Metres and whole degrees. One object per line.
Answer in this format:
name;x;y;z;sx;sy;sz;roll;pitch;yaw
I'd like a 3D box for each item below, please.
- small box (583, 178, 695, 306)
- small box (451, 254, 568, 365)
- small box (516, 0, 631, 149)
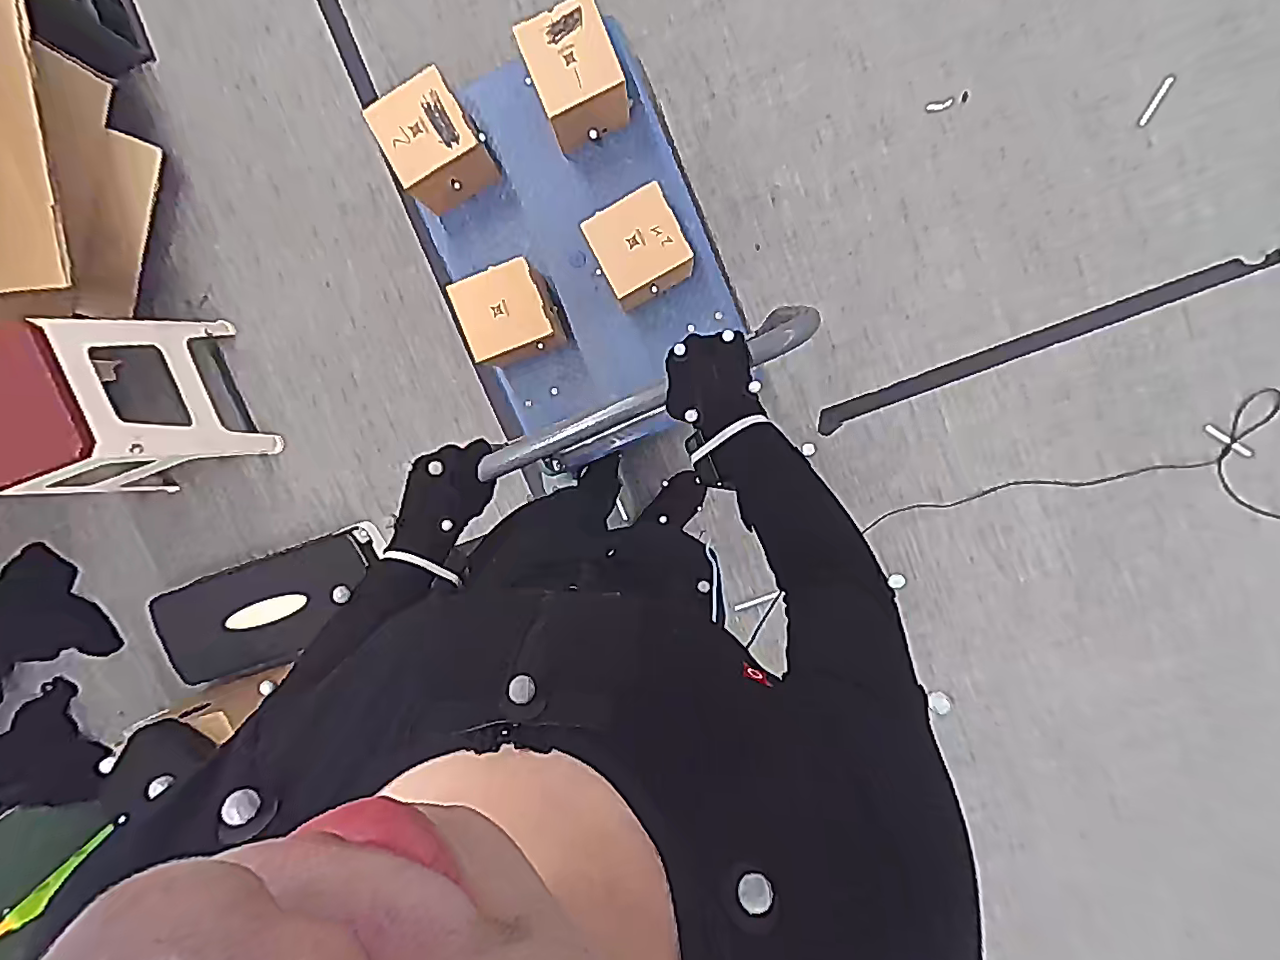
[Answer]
small box;0.004;-0.489;1.145;0.179;0.176;0.168;-28;97;6
small box;-0.275;-0.360;1.179;0.179;0.176;0.168;-20;96;4
small box;-0.127;-0.824;1.100;0.168;0.176;0.179;-23;98;6
